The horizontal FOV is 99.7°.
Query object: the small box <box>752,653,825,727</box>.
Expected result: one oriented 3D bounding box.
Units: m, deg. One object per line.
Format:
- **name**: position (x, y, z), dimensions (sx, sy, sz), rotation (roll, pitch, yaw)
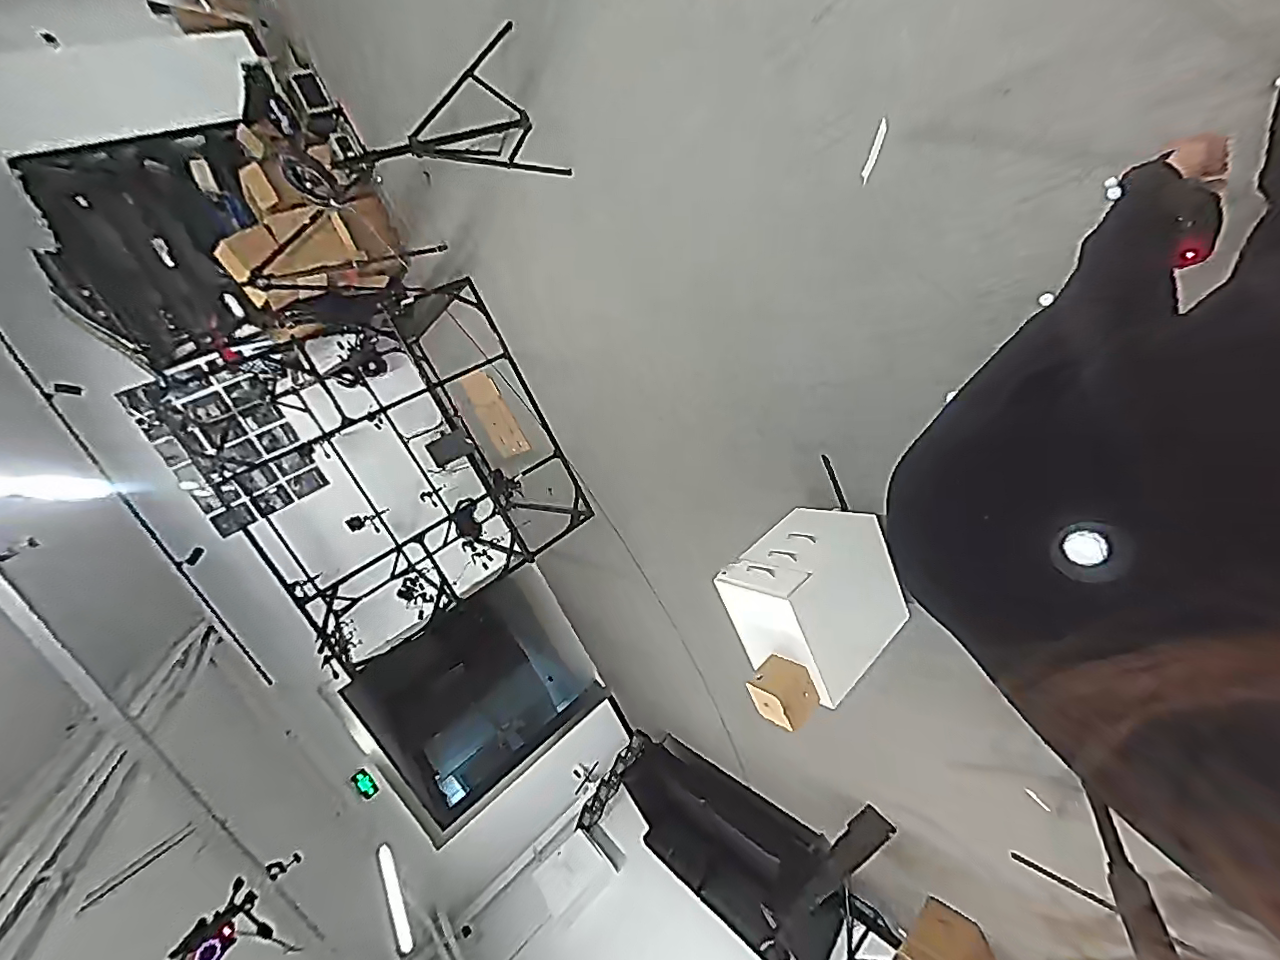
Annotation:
- **small box**: position (0.561, 0.783, 2.040), dimensions (0.179, 0.176, 0.168), rotation (2, 122, 59)
